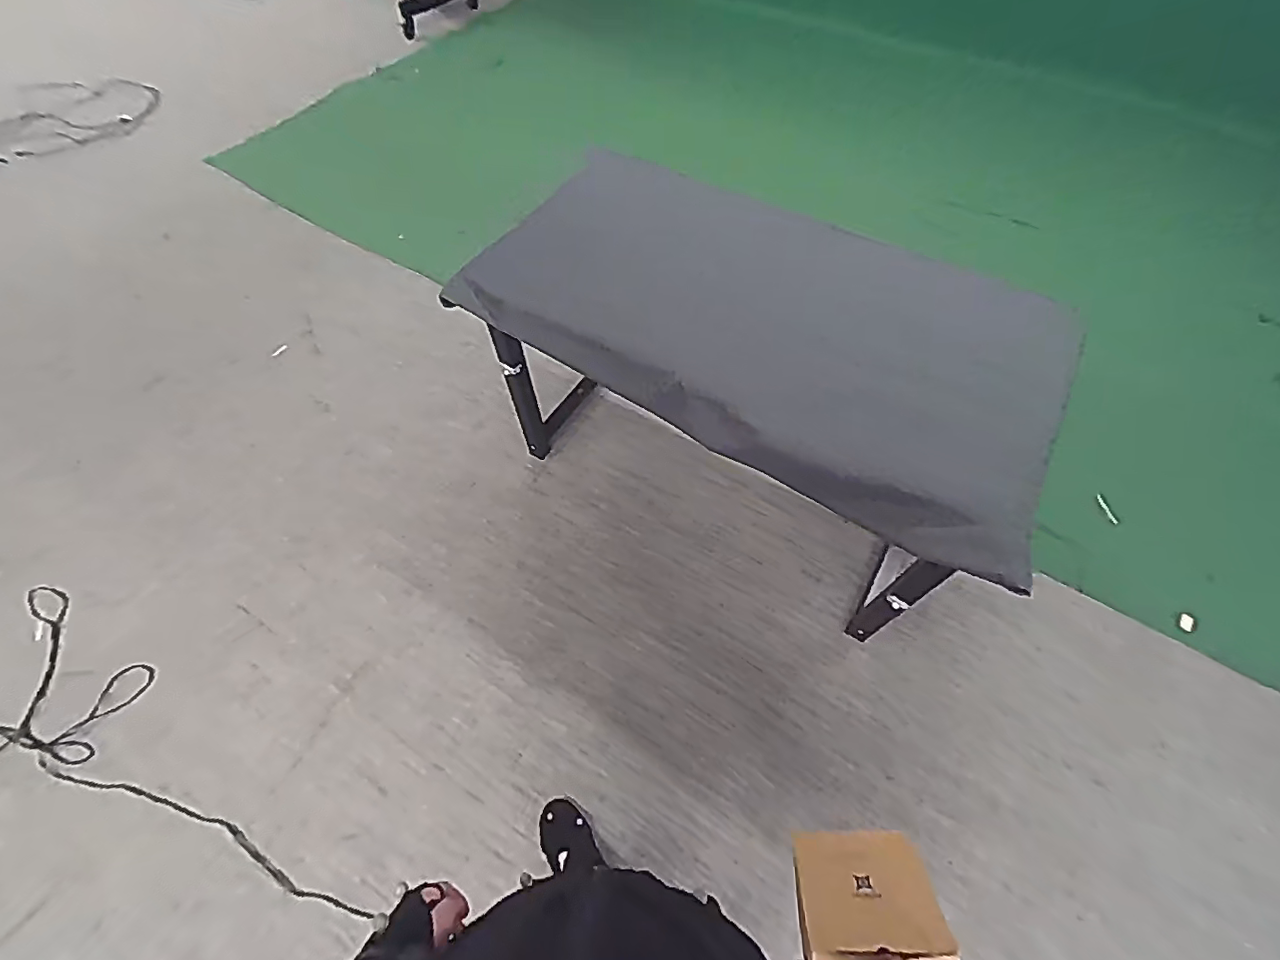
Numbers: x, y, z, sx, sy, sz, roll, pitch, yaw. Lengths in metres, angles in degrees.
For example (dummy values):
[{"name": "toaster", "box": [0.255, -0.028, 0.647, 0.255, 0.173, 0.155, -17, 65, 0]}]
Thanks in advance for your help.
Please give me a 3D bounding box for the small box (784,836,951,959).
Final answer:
[{"name": "small box", "box": [0.287, 0.604, 0.702, 0.168, 0.179, 0.176, -5, 98, 8]}]
